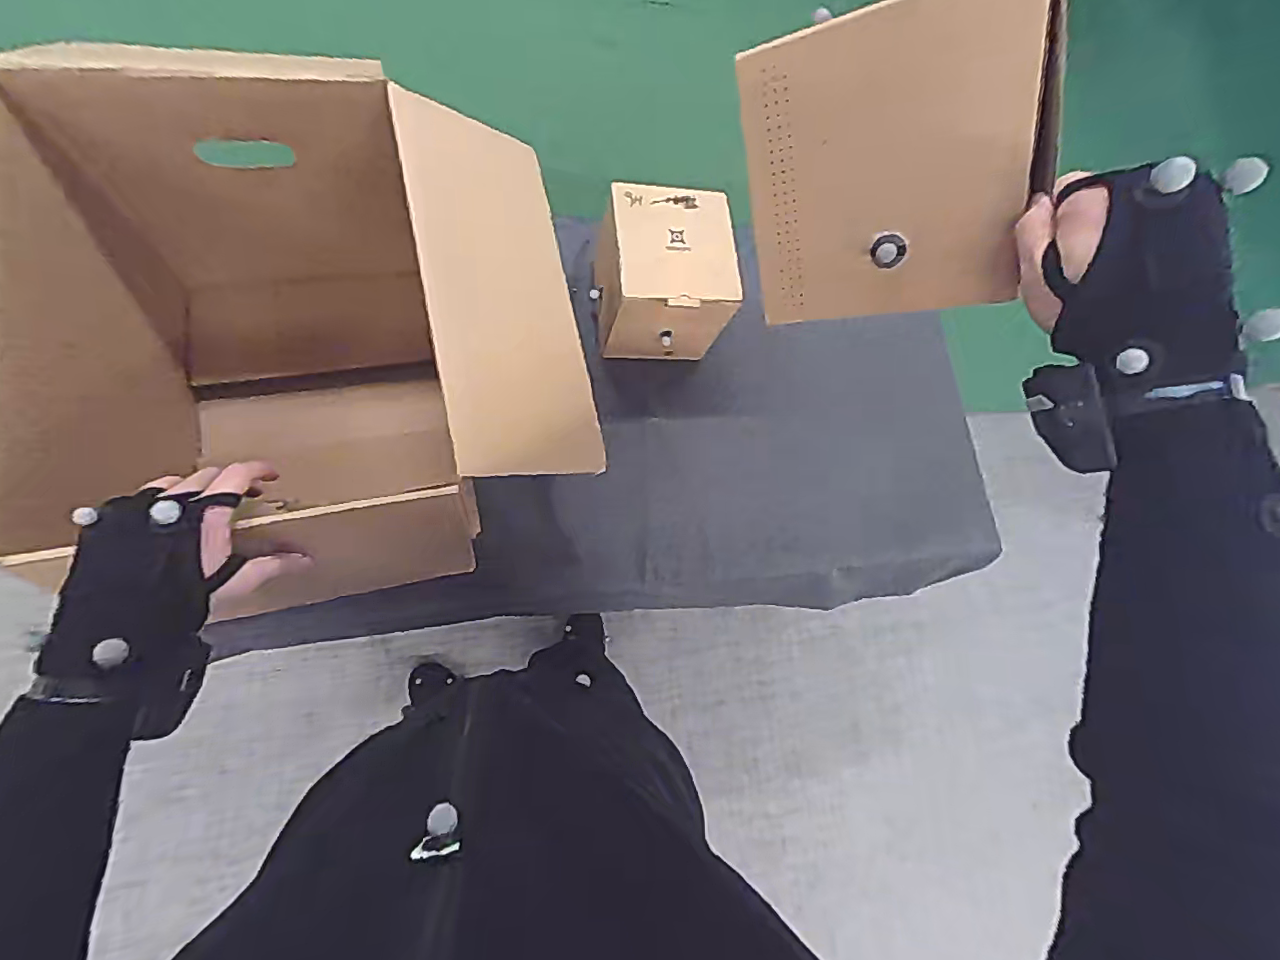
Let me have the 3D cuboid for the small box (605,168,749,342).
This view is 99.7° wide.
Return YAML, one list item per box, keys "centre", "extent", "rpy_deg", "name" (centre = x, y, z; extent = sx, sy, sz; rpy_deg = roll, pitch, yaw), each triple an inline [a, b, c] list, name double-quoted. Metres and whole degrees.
- centre: [0.044, -0.317, 0.798]
  extent: [0.168, 0.176, 0.179]
  rpy_deg: [-1, 79, -14]
  name: "small box"

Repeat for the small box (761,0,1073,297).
- centre: [0.201, -0.246, 0.407]
  extent: [0.168, 0.176, 0.179]
  rpy_deg: [-50, 135, -45]
  name: "small box"
